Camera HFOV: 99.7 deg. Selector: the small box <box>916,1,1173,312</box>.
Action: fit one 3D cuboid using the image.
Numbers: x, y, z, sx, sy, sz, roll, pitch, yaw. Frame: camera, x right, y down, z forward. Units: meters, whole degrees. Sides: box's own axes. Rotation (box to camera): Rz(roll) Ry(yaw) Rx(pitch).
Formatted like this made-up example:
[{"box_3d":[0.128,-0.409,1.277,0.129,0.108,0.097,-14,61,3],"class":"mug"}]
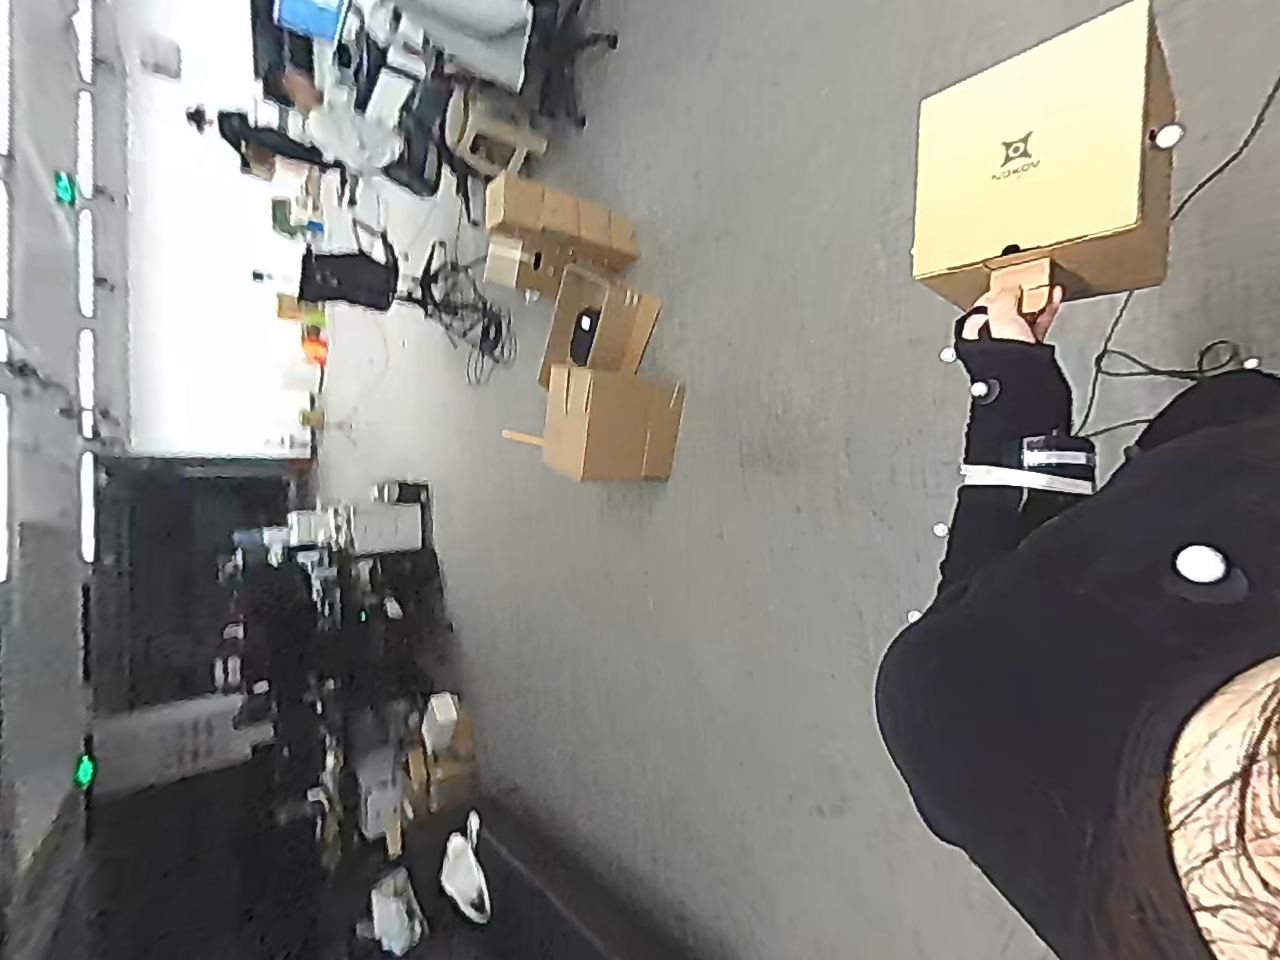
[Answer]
[{"box_3d":[0.389,-0.279,0.520,0.168,0.176,0.179,5,93,48],"class":"small box"}]
